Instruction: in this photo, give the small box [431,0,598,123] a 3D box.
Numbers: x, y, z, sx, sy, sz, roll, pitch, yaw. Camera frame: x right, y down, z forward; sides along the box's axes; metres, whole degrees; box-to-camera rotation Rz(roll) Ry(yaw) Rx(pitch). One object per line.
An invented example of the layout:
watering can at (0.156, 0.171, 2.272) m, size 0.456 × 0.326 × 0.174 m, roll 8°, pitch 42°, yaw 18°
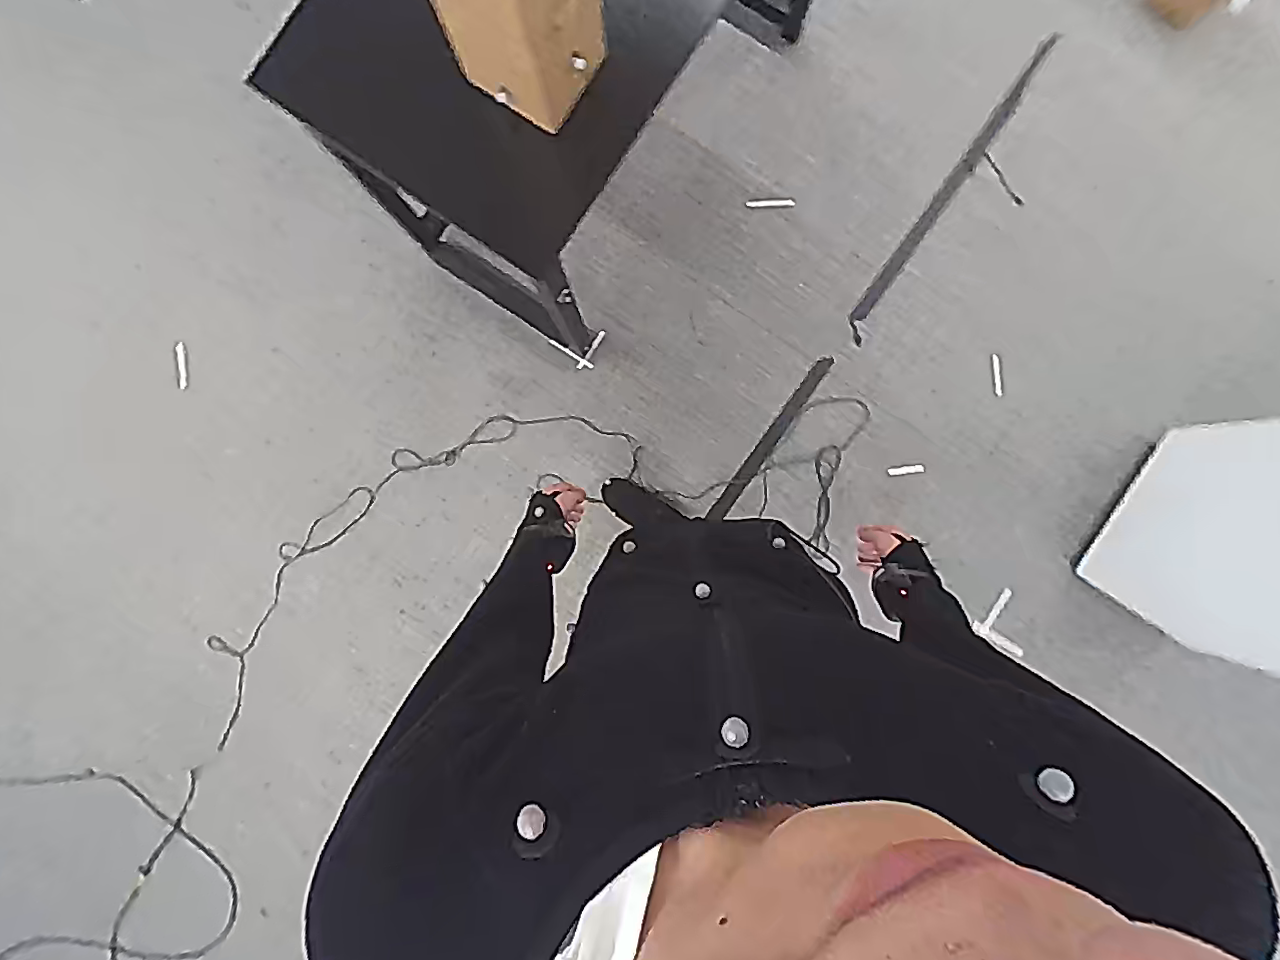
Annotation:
small box at (-0.178, -0.693, 0.823) m, size 0.179 × 0.176 × 0.168 m, roll 32°, pitch 90°, yaw 0°
